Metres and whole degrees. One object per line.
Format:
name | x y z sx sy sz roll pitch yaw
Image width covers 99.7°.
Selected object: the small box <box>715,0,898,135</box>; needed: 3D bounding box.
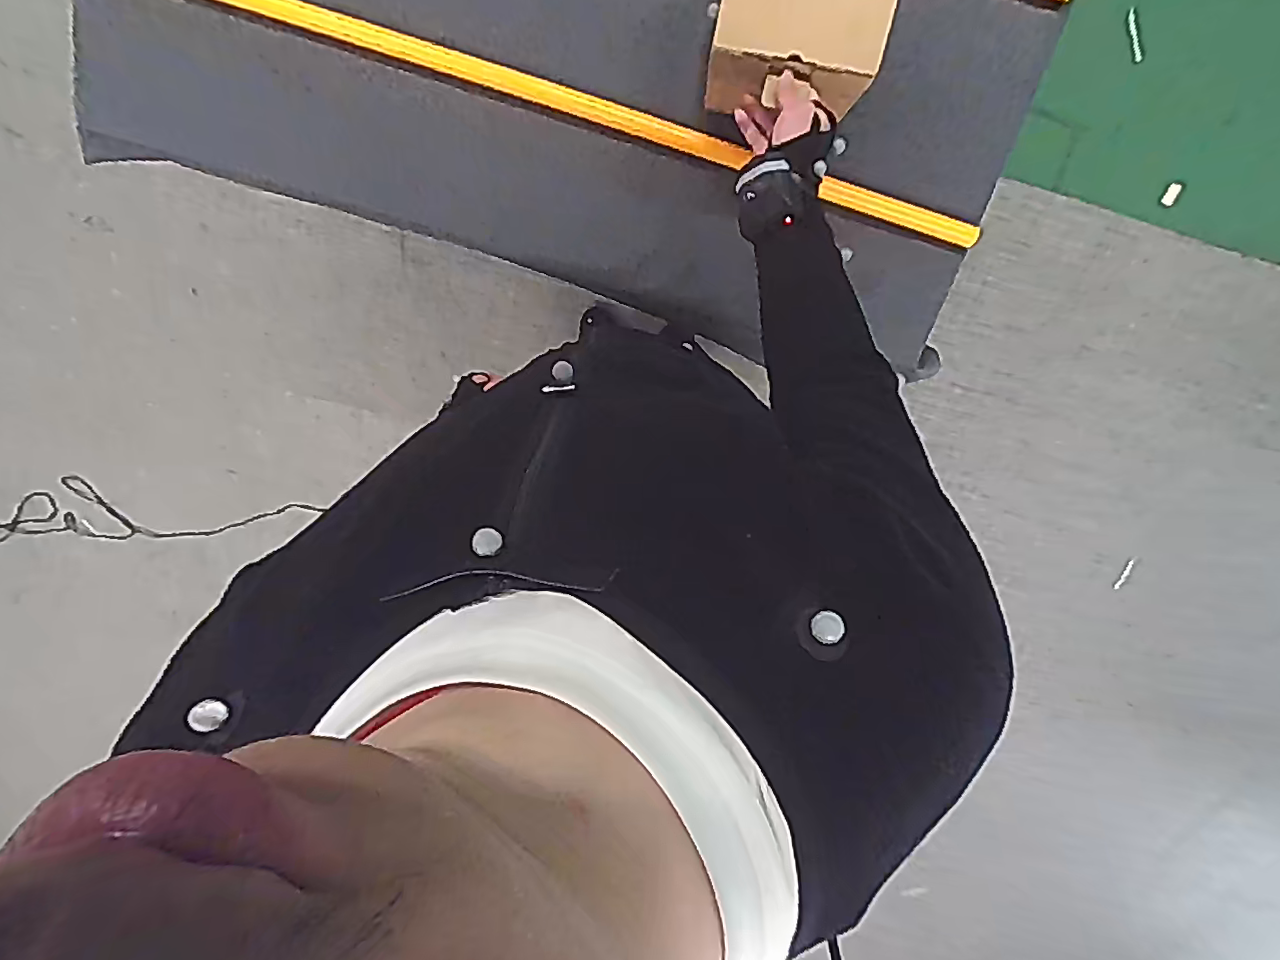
small box | 0.178 -0.504 0.592 0.168 0.176 0.179 9 107 3
